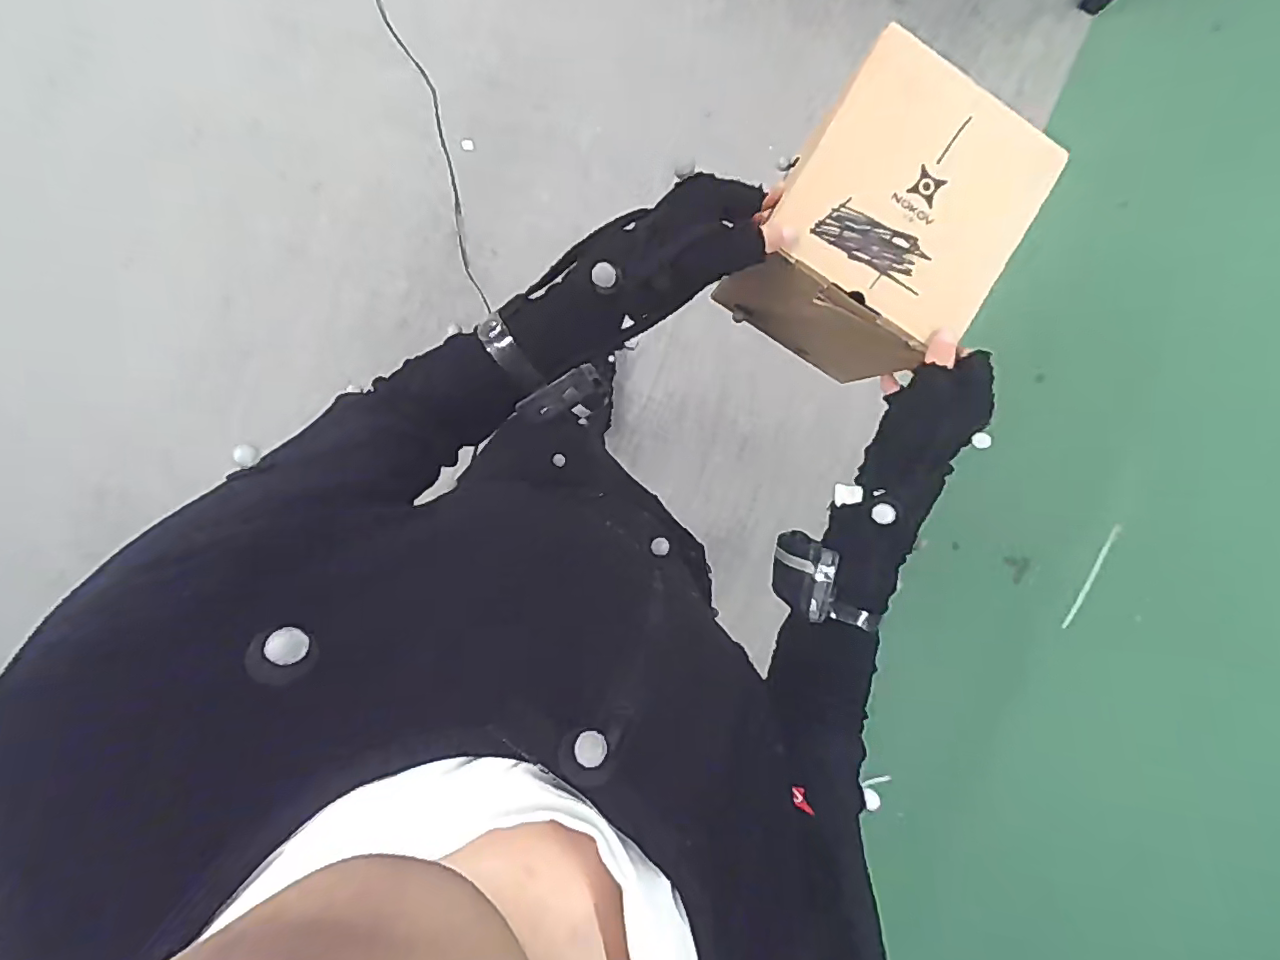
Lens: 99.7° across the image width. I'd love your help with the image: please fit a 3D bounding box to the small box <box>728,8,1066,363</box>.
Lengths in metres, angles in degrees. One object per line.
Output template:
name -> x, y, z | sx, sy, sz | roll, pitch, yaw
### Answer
small box -> 0.193, -0.221, 0.466 | 0.168, 0.176, 0.179 | 30, 90, -7
